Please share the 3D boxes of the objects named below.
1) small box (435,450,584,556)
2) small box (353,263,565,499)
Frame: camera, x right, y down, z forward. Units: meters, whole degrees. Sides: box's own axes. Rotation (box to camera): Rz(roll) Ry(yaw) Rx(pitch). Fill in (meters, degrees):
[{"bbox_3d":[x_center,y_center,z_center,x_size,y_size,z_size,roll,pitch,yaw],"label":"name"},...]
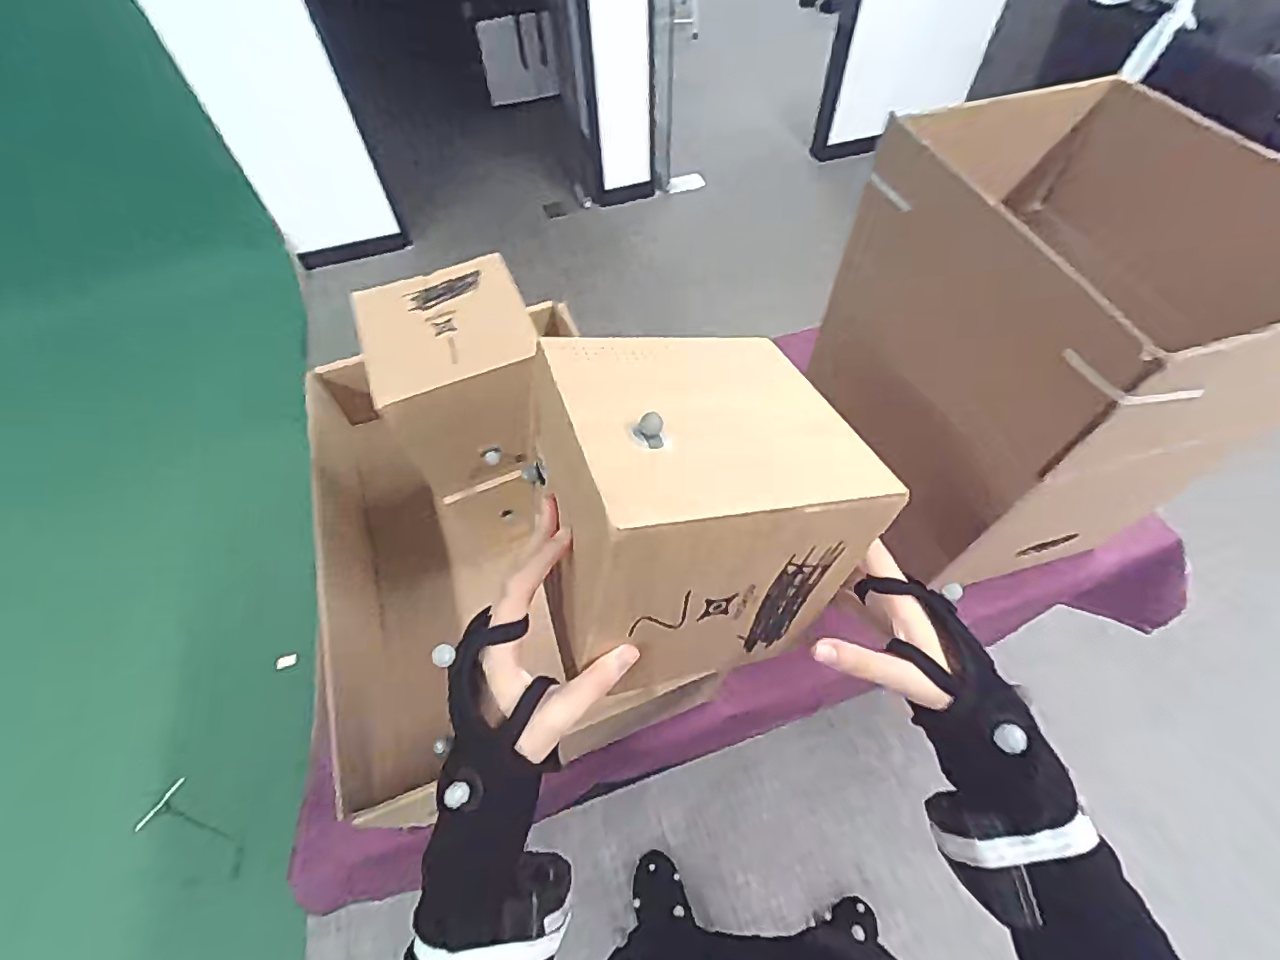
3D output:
[{"bbox_3d":[-0.188,-0.014,0.755,0.168,0.176,0.179,-23,59,-11],"label":"small box"},{"bbox_3d":[-0.199,-0.109,0.620,0.168,0.176,0.179,-22,60,-10],"label":"small box"}]
